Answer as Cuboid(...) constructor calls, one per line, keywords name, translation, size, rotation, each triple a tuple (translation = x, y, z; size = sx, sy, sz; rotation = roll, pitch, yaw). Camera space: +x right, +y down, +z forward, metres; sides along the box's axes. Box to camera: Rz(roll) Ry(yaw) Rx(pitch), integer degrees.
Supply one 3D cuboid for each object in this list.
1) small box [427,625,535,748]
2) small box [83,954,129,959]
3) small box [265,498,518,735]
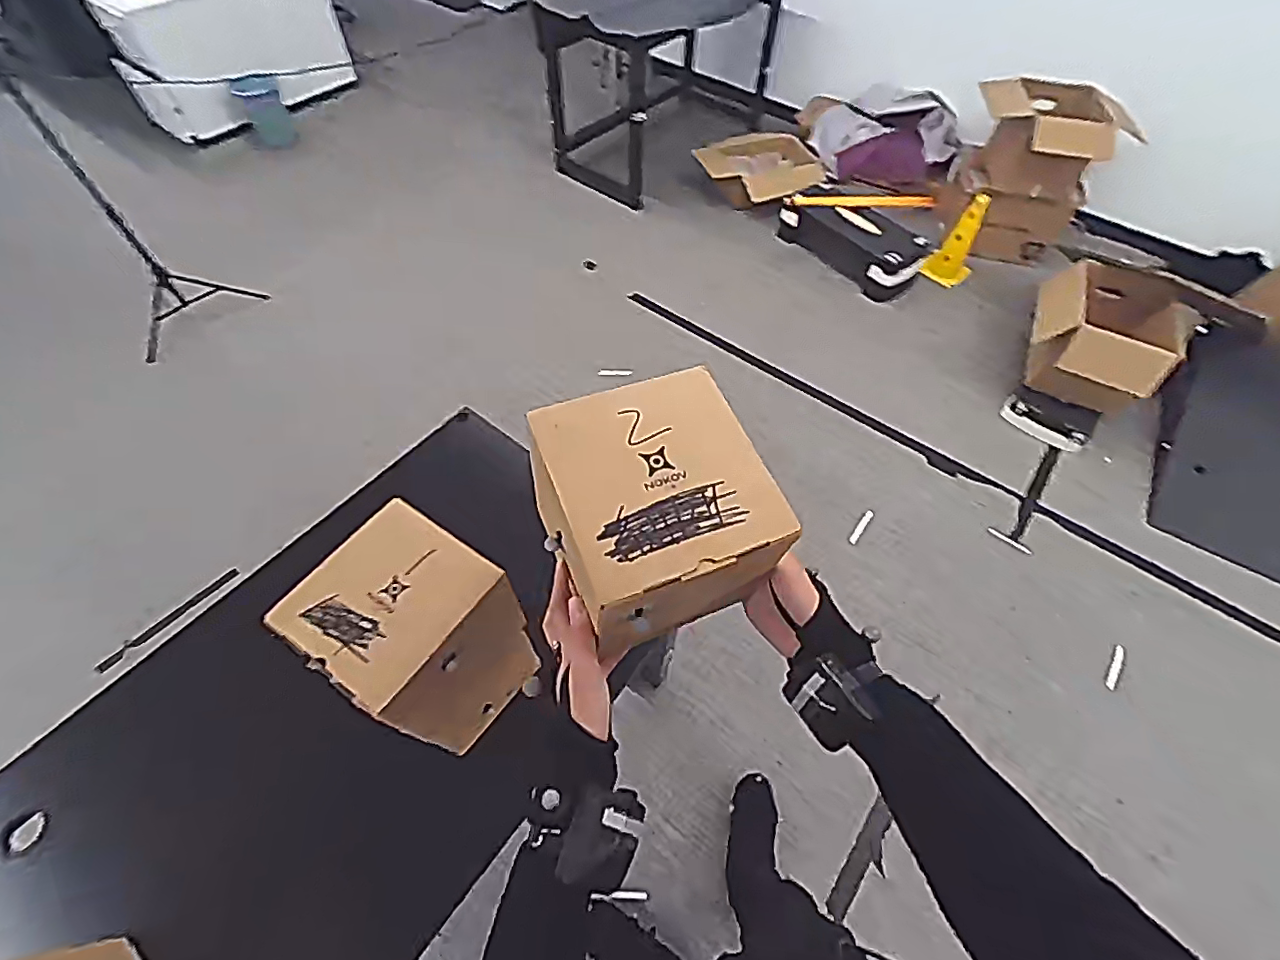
Cuboid(name="small box", translation=(-0.270, 0.247, 0.755), size=(0.179, 0.176, 0.168), rotation=(33, 62, 18))
Cuboid(name="small box", translation=(-0.590, 0.602, 0.511), size=(0.179, 0.176, 0.168), rotation=(32, 61, 17))
Cuboid(name="small box", translation=(-0.260, 0.161, 0.615), size=(0.168, 0.176, 0.179), rotation=(30, 60, 16))
